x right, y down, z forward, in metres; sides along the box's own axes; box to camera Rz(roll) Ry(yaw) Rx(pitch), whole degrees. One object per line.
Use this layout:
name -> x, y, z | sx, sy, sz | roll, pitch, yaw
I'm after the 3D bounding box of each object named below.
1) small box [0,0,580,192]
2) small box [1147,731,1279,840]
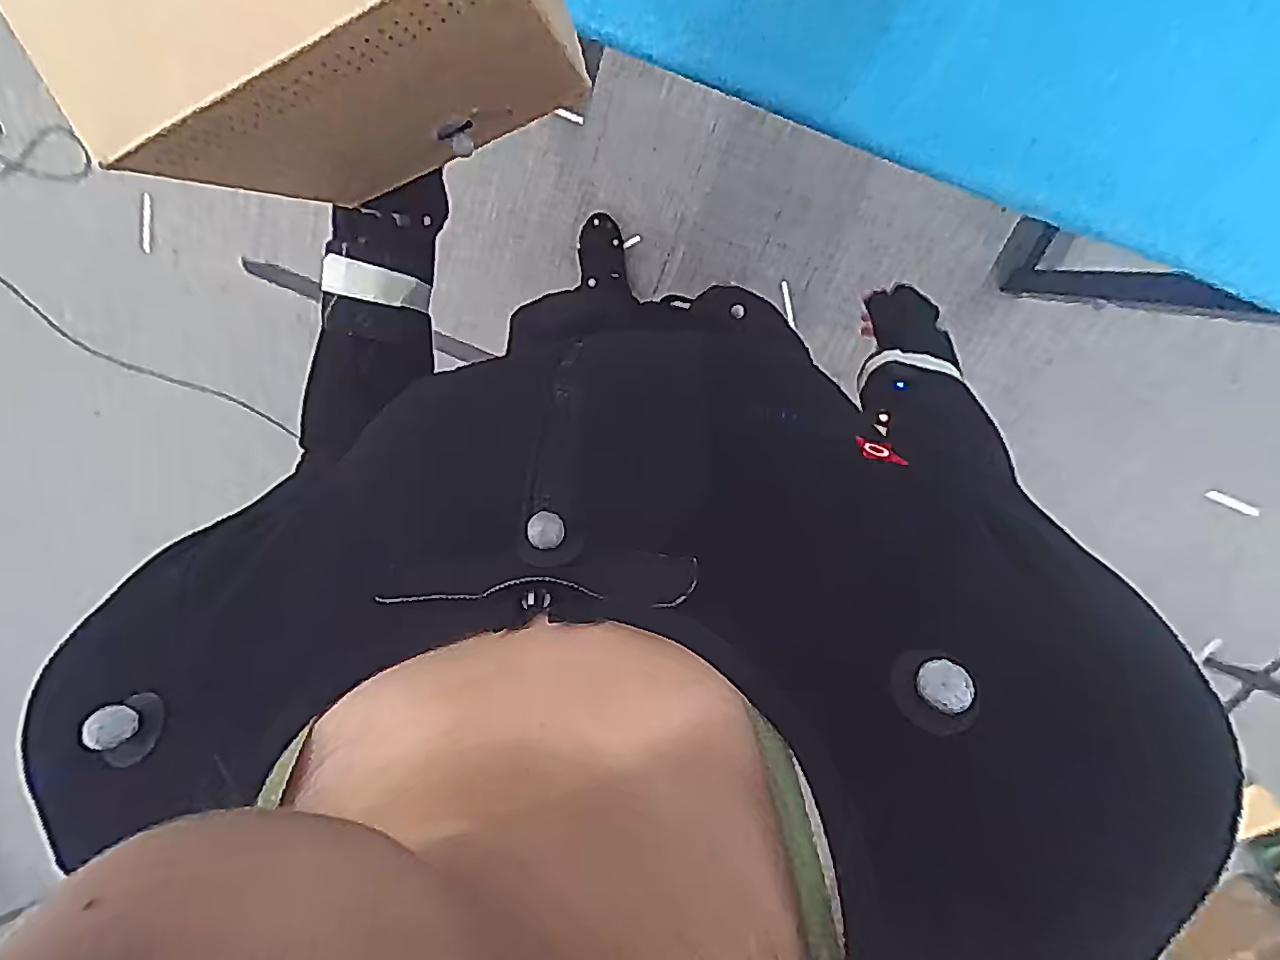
small box -> -0.150, -0.250, 0.233 | 0.179, 0.176, 0.168 | -16, 109, 13
small box -> 1.532, 0.807, 1.448 | 0.179, 0.176, 0.168 | 43, 112, -12
